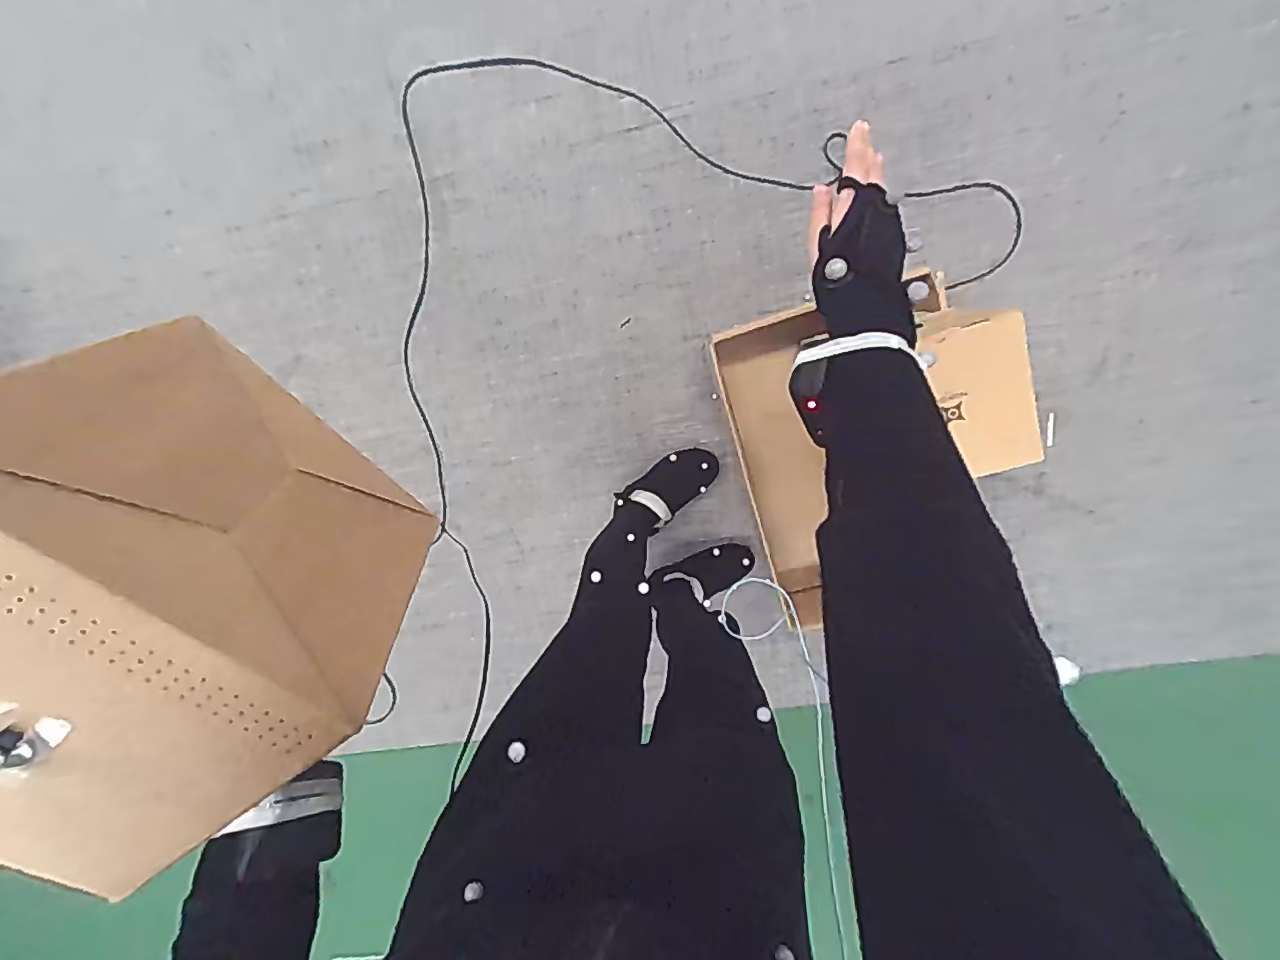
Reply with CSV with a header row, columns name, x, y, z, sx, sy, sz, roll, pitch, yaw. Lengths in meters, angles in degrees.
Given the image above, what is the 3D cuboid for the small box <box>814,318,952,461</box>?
name,x,y,z,sx,sy,sz,roll,pitch,yaw
small box,0.375,-0.145,0.837,0.168,0.176,0.179,-11,106,10

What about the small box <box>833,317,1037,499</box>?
name,x,y,z,sx,sy,sz,roll,pitch,yaw
small box,0.358,-0.098,0.683,0.168,0.176,0.179,-16,103,12
